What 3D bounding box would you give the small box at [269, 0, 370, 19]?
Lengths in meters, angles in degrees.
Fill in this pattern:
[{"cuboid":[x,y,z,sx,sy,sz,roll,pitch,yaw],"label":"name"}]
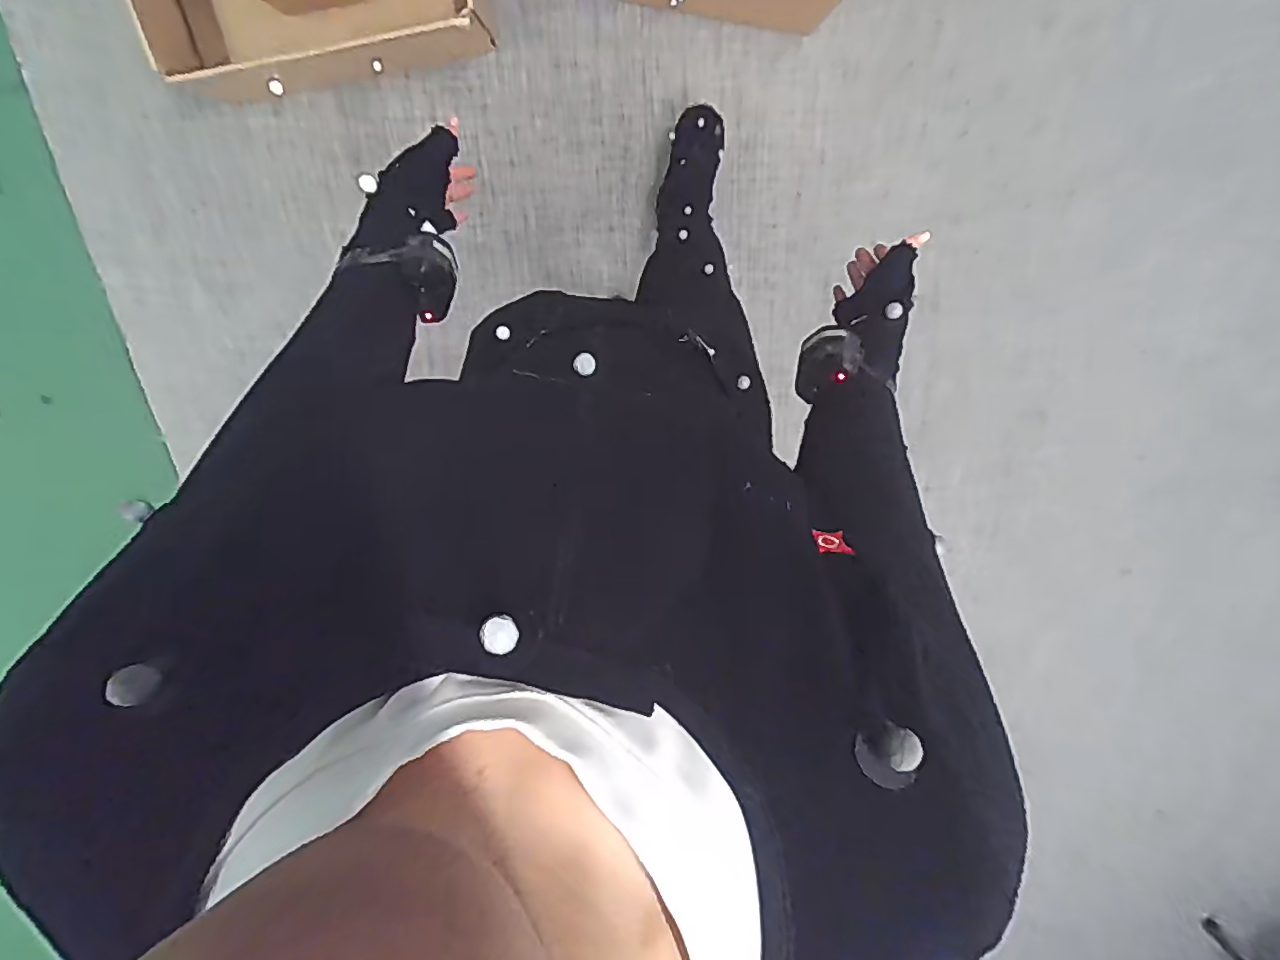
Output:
[{"cuboid":[-0.625,-0.978,0.981,0.179,0.176,0.168,-7,112,2],"label":"small box"}]
